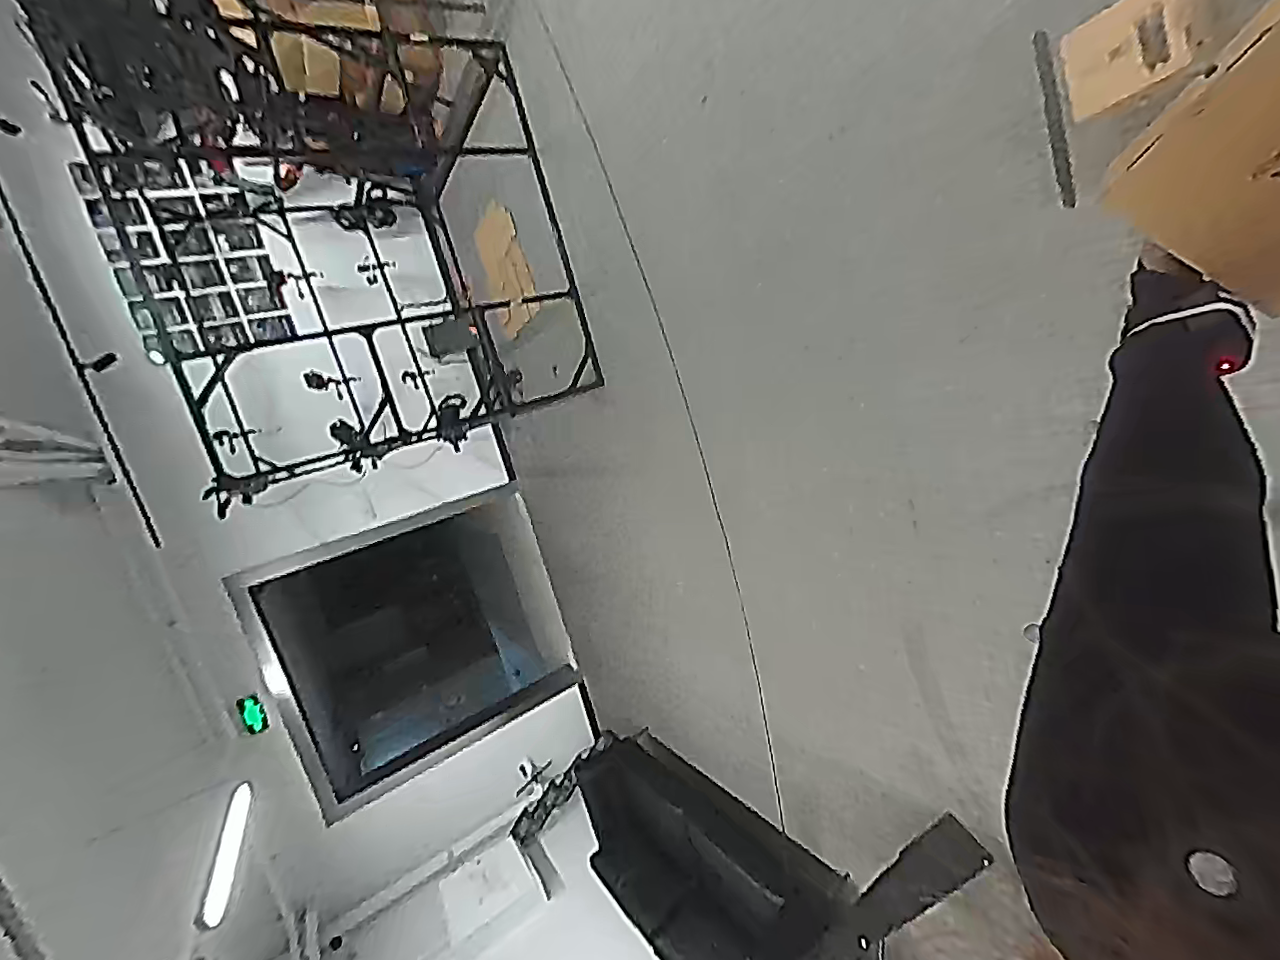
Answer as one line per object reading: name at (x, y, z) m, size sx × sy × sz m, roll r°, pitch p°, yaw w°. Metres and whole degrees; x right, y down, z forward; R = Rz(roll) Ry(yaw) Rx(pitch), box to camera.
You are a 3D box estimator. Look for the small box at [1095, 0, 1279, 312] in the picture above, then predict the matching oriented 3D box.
small box at (0.535, -0.279, 0.442) m, size 0.179 × 0.176 × 0.168 m, roll 43°, pitch 144°, yaw 11°
